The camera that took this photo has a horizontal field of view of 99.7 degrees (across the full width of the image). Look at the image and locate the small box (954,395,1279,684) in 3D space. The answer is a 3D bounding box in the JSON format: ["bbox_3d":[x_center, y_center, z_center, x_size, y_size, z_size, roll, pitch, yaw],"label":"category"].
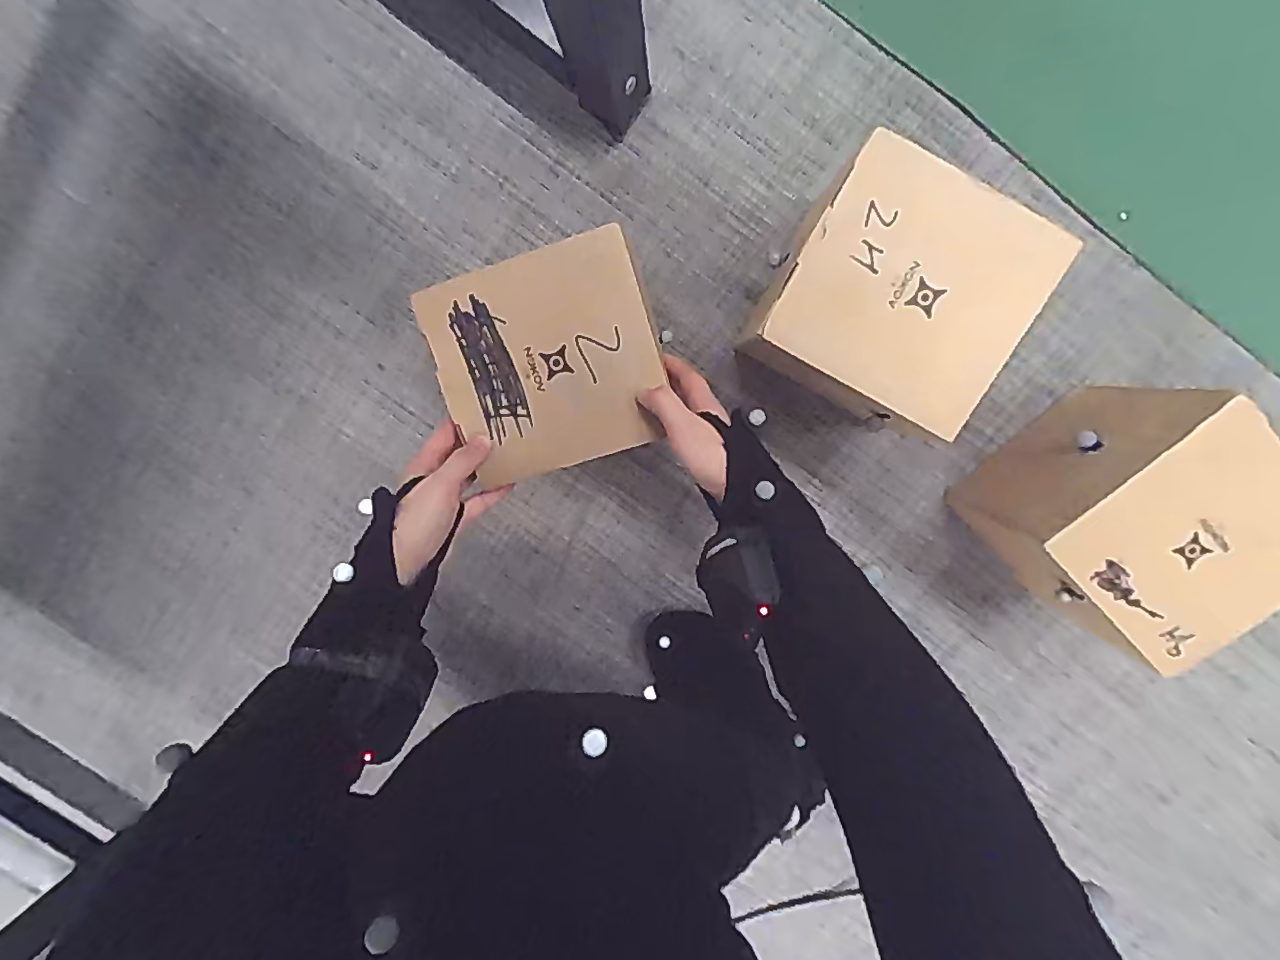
[{"bbox_3d":[0.441,0.036,0.495,0.179,0.176,0.168,-44,96,11],"label":"small box"}]

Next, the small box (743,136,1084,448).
[{"bbox_3d":[0.211,-0.150,0.477,0.179,0.176,0.168,29,101,-2],"label":"small box"}]
